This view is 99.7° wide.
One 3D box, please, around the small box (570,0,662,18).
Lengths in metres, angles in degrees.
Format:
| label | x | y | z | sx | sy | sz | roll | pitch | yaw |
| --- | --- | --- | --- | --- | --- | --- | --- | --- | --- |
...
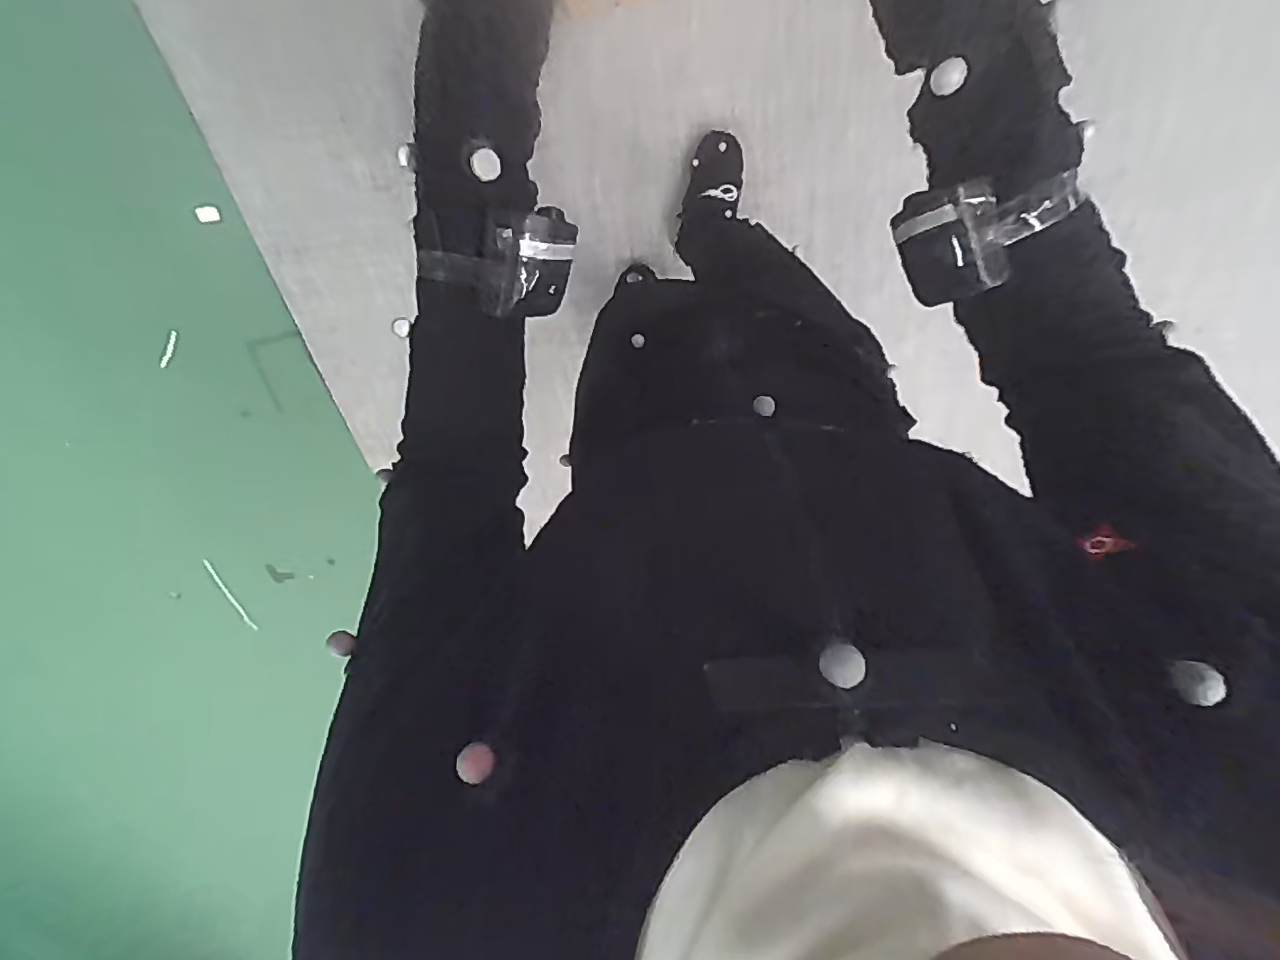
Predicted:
| label | x | y | z | sx | sy | sz | roll | pitch | yaw |
| --- | --- | --- | --- | --- | --- | --- | --- | --- | --- |
| small box | -0.042 | -0.915 | 0.913 | 0.179 | 0.176 | 0.168 | -6 | 121 | 5 |
